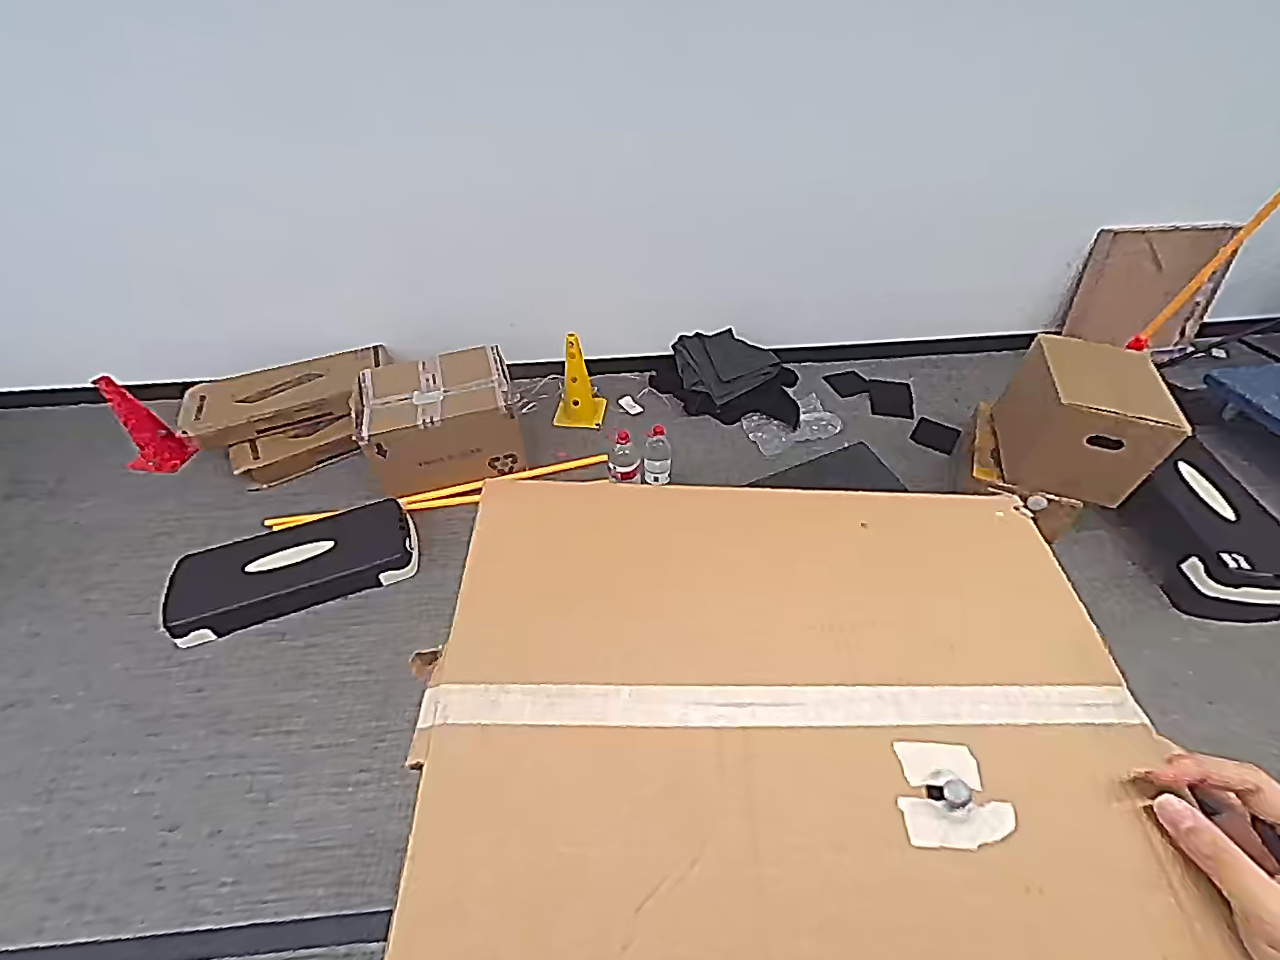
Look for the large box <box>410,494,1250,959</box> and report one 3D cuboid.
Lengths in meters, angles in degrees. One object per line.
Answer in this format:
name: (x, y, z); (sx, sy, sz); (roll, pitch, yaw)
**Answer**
large box: (0.079, 0.228, 0.431); (0.408, 0.320, 0.320); (2, 52, -5)
